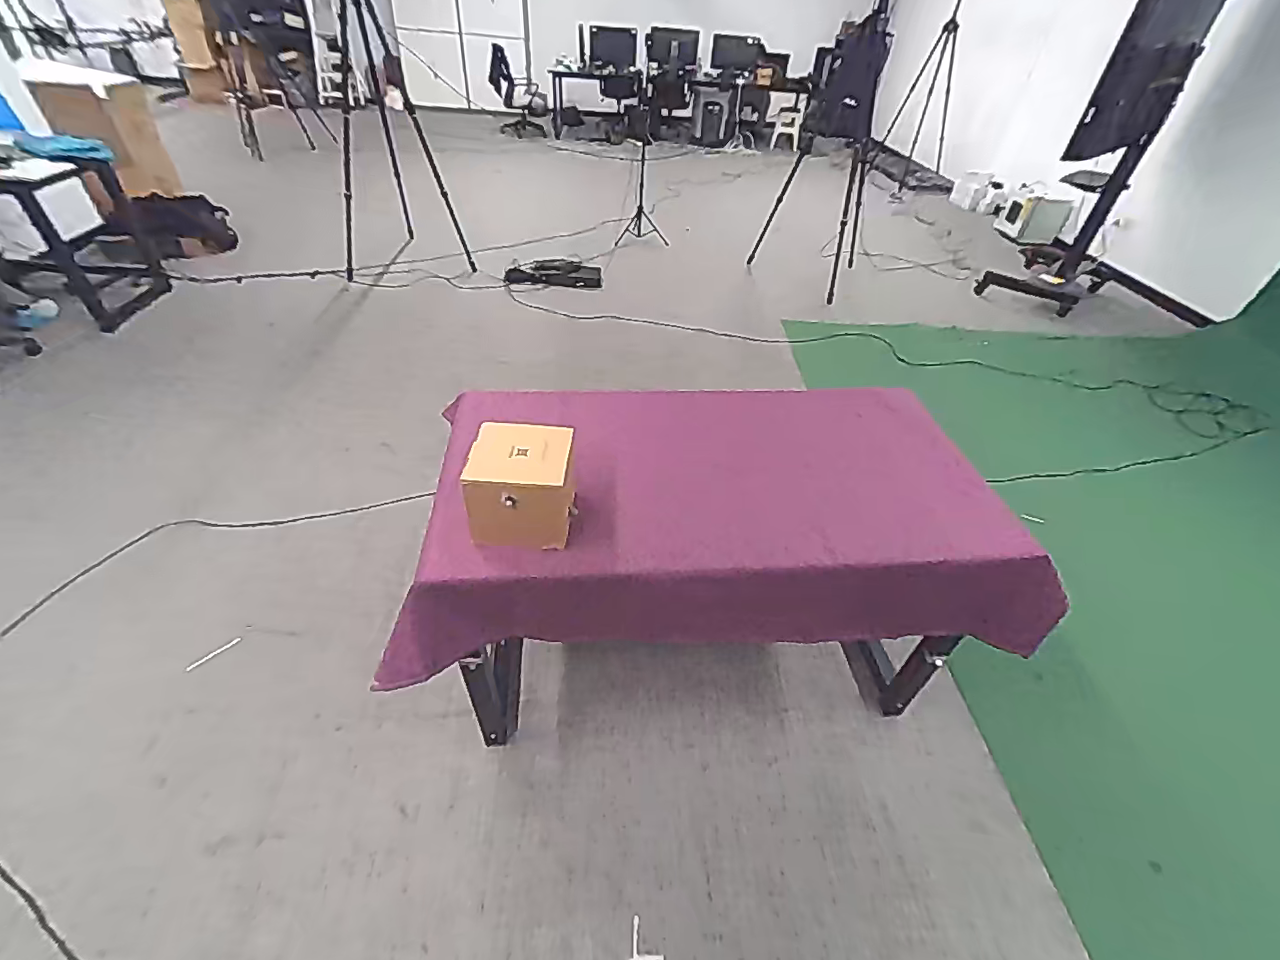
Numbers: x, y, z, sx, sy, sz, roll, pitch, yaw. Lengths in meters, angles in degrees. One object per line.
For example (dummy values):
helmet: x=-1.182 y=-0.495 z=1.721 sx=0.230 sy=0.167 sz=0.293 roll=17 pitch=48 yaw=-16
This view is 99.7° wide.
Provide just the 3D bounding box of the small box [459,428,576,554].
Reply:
small box: x=-0.219 y=0.022 z=1.014 sx=0.179 sy=0.176 sz=0.168 roll=4 pitch=42 yaw=-1
